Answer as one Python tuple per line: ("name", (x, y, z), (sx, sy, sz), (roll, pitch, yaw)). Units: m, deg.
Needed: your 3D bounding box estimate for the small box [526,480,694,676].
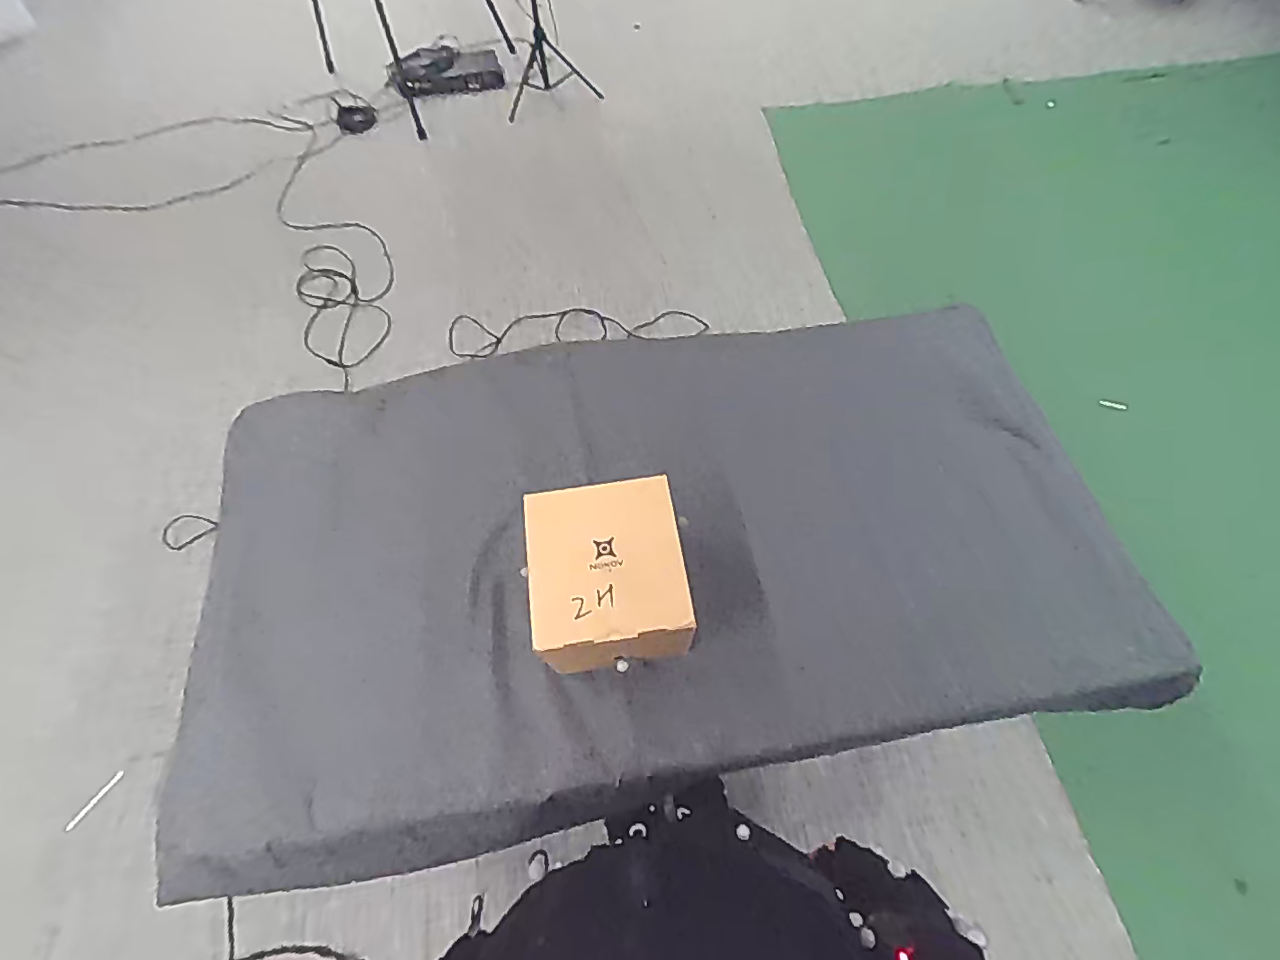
("small box", (-0.036, 0.123, 0.645), (0.168, 0.176, 0.179), (-8, 63, -2))
